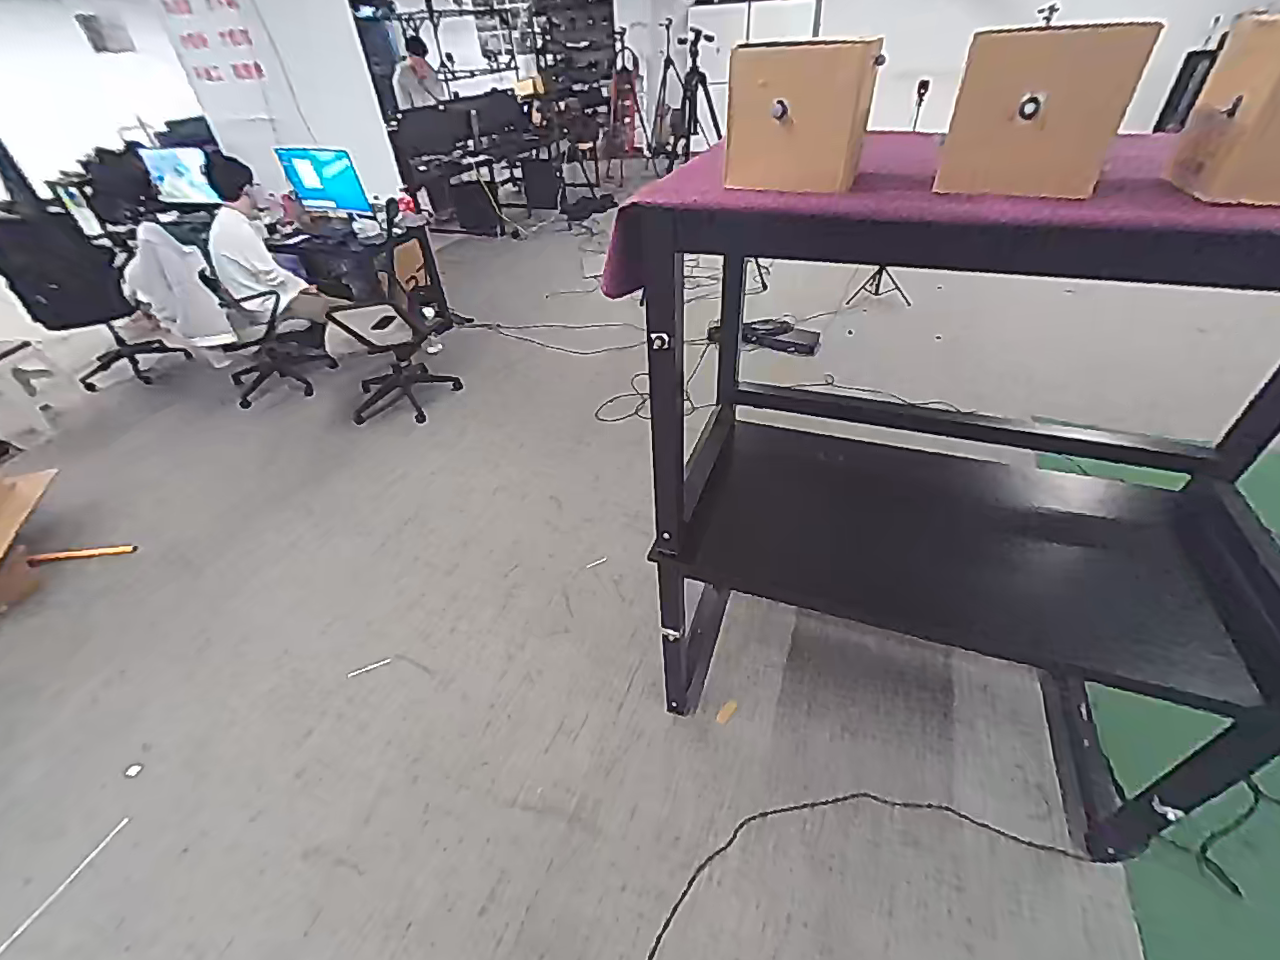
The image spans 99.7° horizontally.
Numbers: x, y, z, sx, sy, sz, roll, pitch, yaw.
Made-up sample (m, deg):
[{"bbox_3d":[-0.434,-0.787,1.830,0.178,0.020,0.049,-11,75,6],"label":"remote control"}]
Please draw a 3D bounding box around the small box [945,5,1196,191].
[{"bbox_3d":[0.498,-0.461,0.656,0.179,0.176,0.168,17,43,22],"label":"small box"}]

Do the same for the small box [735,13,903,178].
[{"bbox_3d":[0.238,-0.524,0.741,0.179,0.176,0.168,16,44,20],"label":"small box"}]

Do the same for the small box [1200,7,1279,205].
[{"bbox_3d":[0.748,-0.390,0.564,0.179,0.176,0.168,15,43,19],"label":"small box"}]
